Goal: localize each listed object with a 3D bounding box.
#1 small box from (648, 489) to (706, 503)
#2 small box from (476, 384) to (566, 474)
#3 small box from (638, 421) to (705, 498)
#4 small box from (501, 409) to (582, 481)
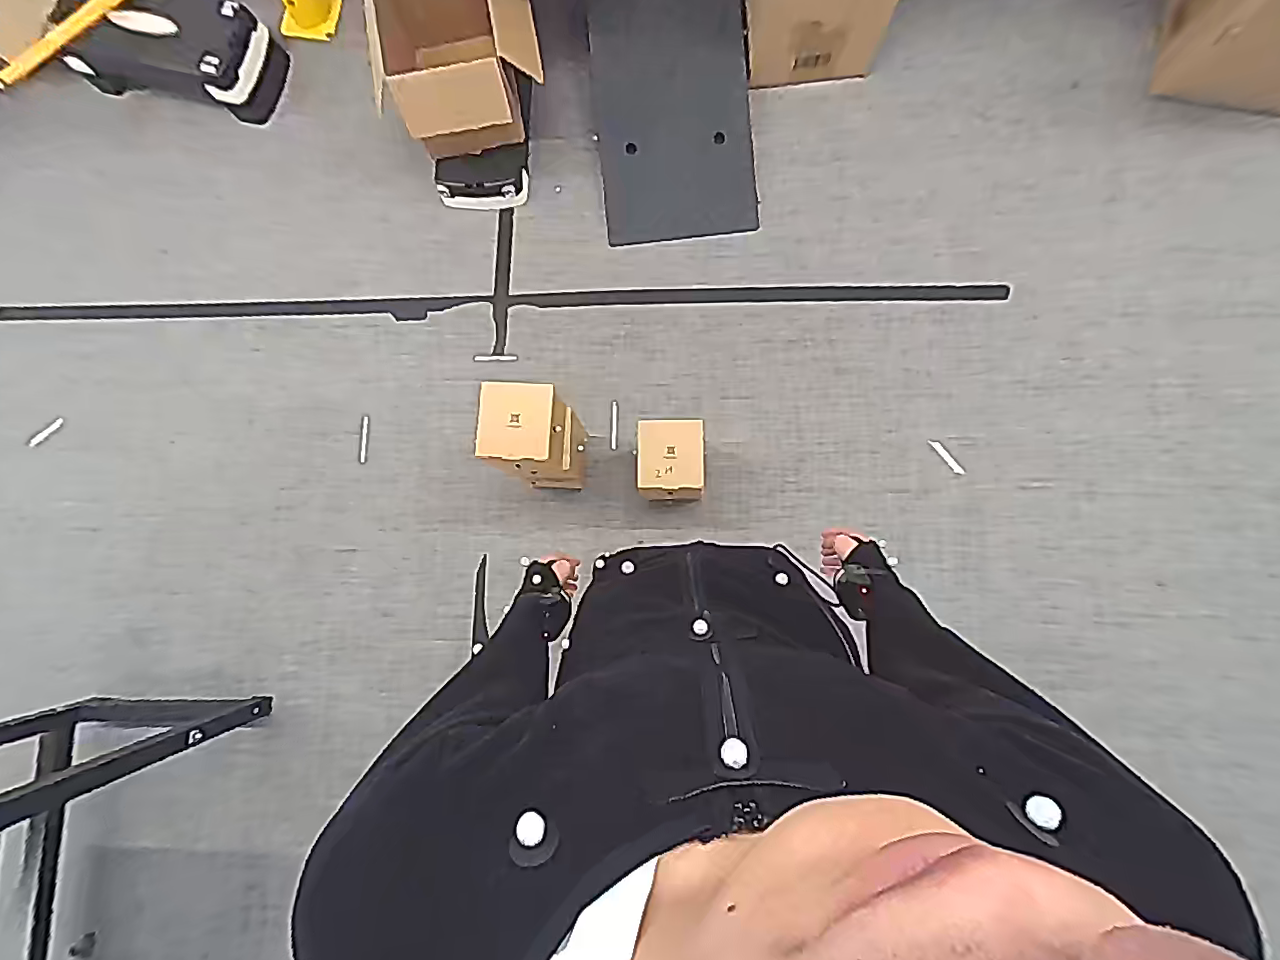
[{"bbox_3d":[0.103,-0.027,1.578,0.168,0.176,0.179,-2,84,4],"label":"small box"},{"bbox_3d":[-0.273,-0.116,1.275,0.168,0.176,0.179,3,84,2],"label":"small box"},{"bbox_3d":[0.083,-0.049,1.416,0.168,0.176,0.179,0,83,4],"label":"small box"},{"bbox_3d":[-0.255,-0.089,1.435,0.179,0.176,0.168,1,83,2],"label":"small box"}]
